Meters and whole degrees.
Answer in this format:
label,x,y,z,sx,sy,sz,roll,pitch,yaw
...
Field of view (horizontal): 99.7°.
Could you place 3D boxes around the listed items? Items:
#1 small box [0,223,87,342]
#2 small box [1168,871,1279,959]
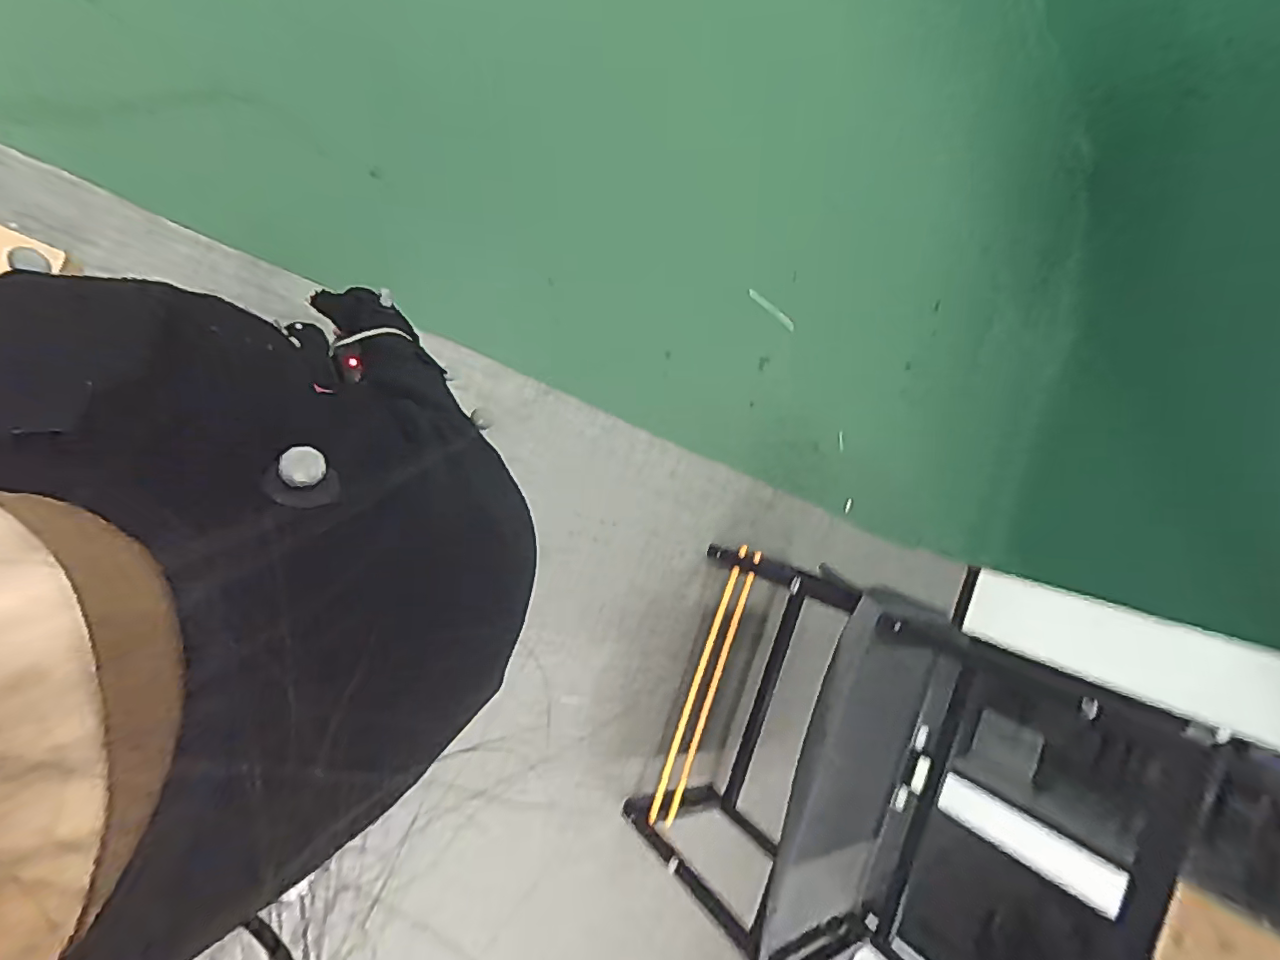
label,x,y,z,sx,sy,sz,roll,pitch,yaw
small box,-1.076,-0.340,0.895,0.179,0.176,0.168,24,86,-40
small box,1.247,0.965,1.137,0.179,0.176,0.168,28,83,-39
